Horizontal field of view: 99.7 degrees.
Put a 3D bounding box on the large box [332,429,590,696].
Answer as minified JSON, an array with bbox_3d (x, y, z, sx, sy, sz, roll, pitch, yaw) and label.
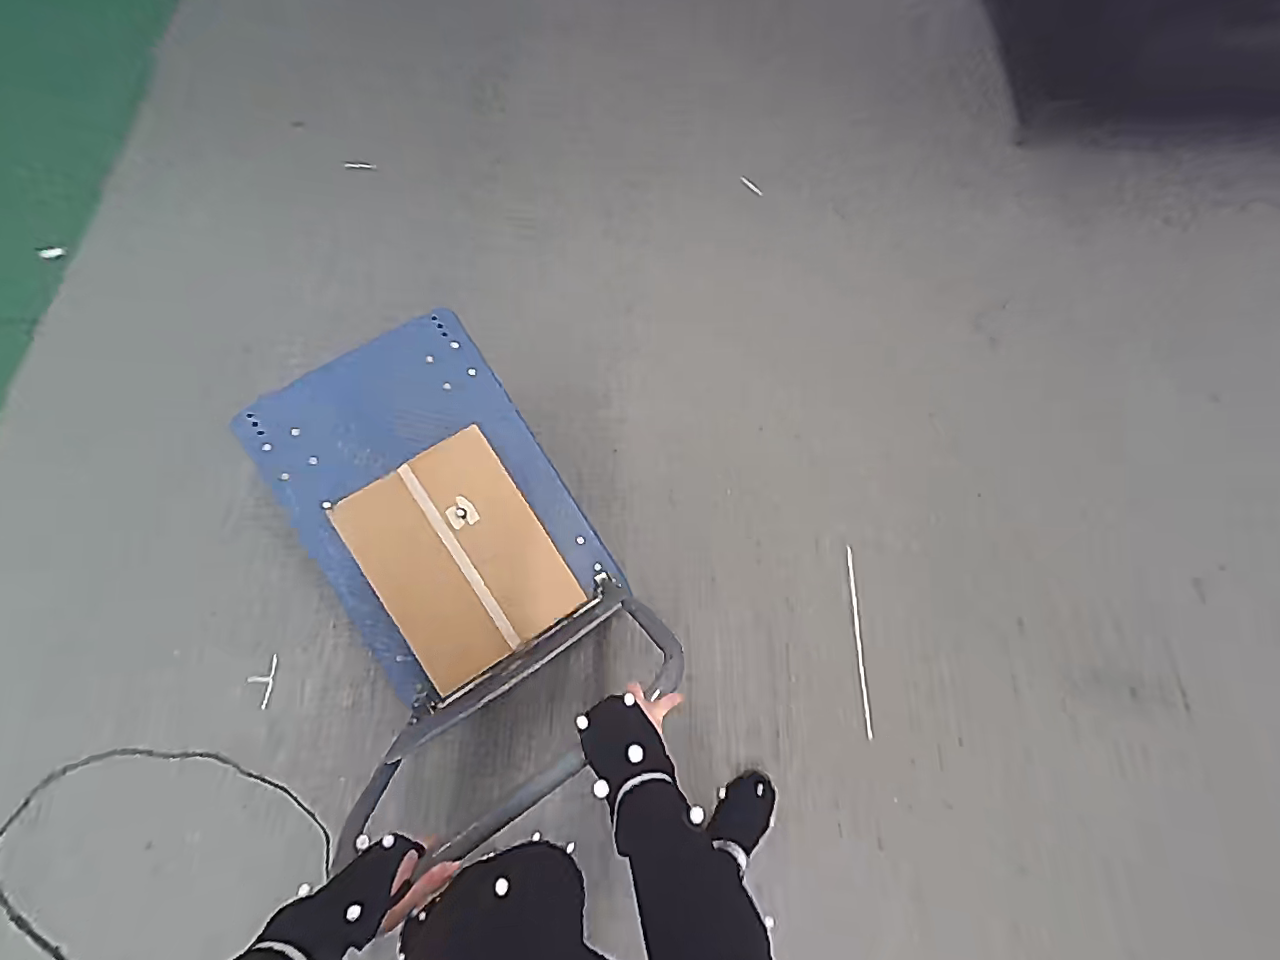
[{"bbox_3d":[-0.343,0.165,1.141,0.320,0.320,0.408,-33,87,-12],"label":"large box"}]
